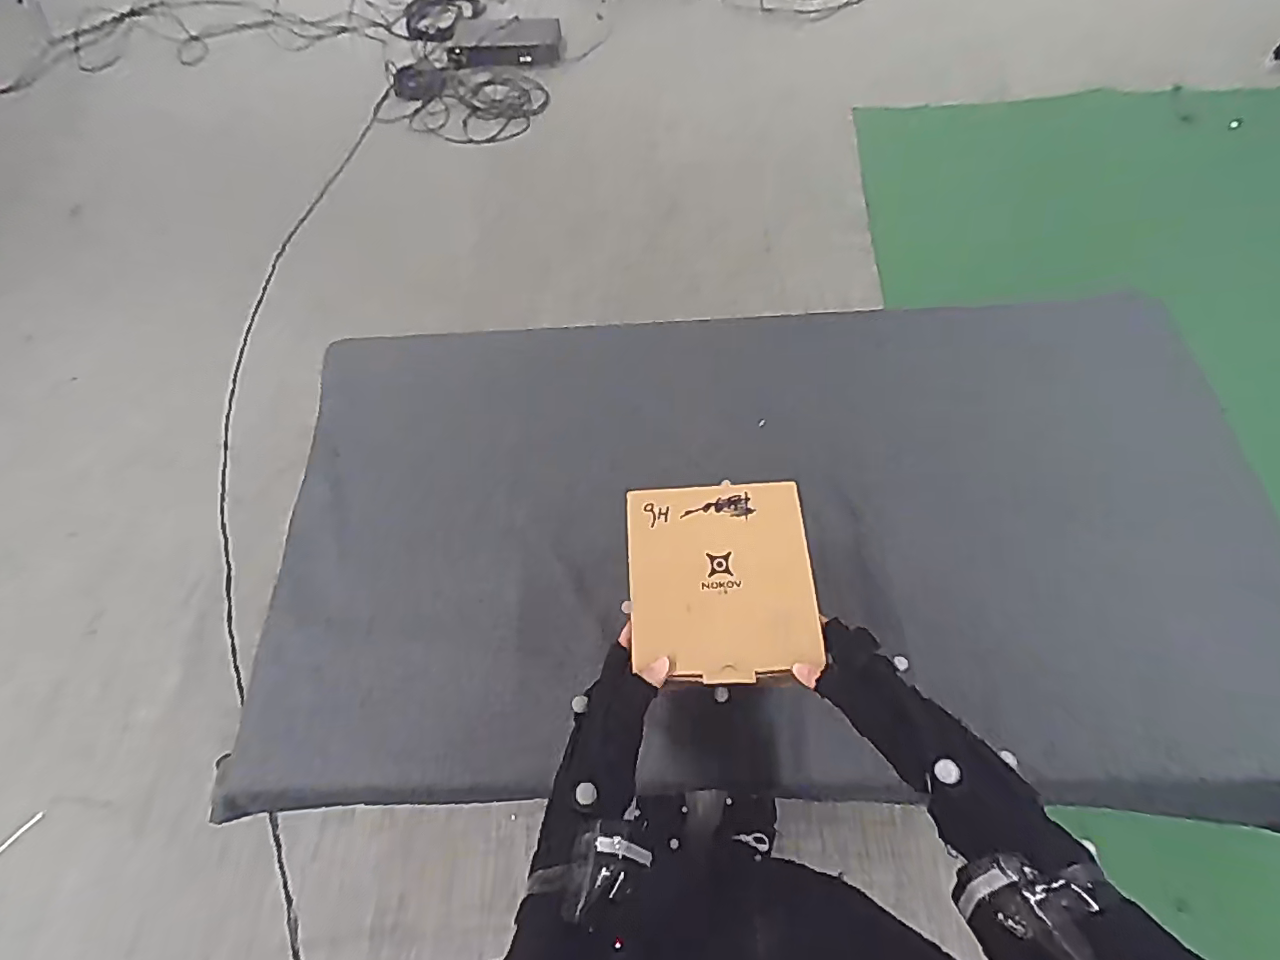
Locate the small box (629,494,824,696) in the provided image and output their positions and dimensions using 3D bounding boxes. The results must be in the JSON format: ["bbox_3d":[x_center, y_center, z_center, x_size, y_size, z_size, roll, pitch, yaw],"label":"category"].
[{"bbox_3d":[0.078,0.128,0.564,0.168,0.176,0.179,-4,67,2],"label":"small box"}]
